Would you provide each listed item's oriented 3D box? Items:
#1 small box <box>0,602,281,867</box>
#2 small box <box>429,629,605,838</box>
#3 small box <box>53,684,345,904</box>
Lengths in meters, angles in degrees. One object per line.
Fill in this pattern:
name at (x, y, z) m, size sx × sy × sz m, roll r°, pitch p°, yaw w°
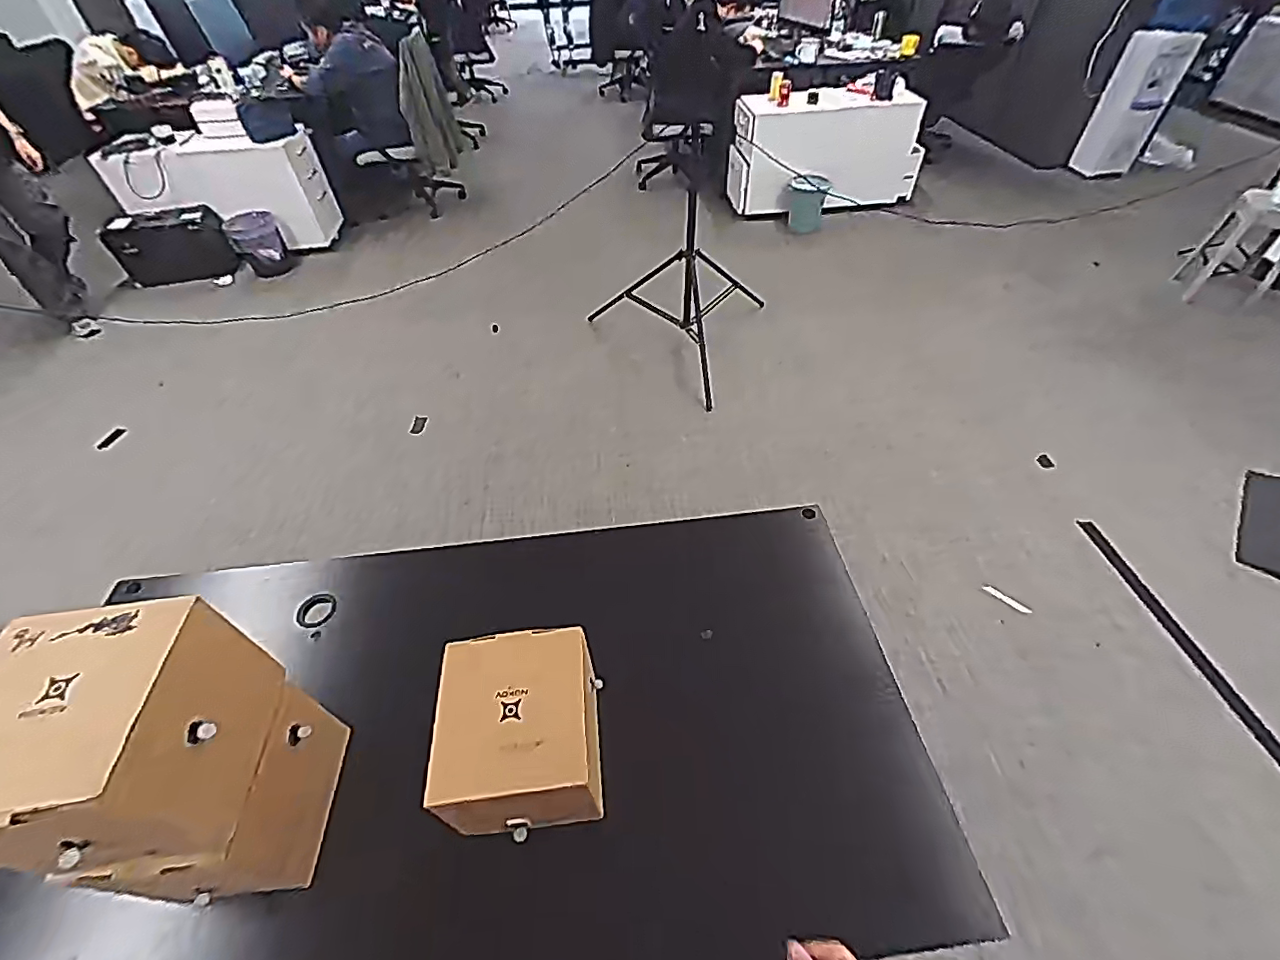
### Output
small box at (-0.476, 0.240, 0.502) m, size 0.168 × 0.176 × 0.179 m, roll -7°, pitch 48°, yaw -4°
small box at (-0.135, 0.306, 0.652) m, size 0.168 × 0.176 × 0.179 m, roll -8°, pitch 48°, yaw -3°
small box at (-0.467, 0.357, 0.616) m, size 0.168 × 0.176 × 0.179 m, roll -5°, pitch 47°, yaw -2°
